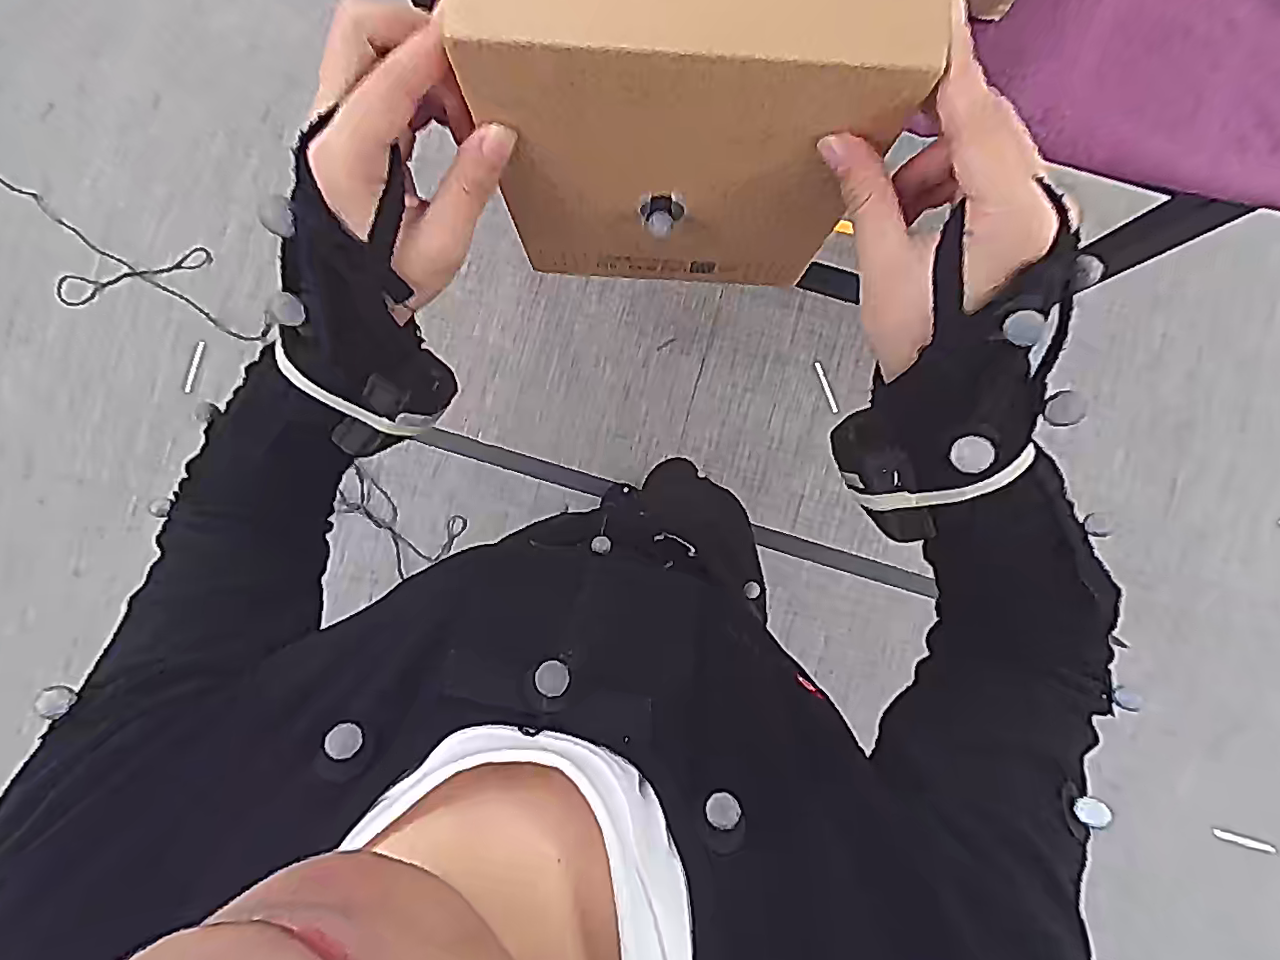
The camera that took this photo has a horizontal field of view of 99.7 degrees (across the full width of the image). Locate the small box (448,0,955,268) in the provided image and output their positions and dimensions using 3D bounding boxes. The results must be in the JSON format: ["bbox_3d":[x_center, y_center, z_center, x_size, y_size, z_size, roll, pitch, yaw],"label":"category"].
[{"bbox_3d":[0.024,-0.221,0.257,0.168,0.176,0.179,4,86,-1],"label":"small box"}]
